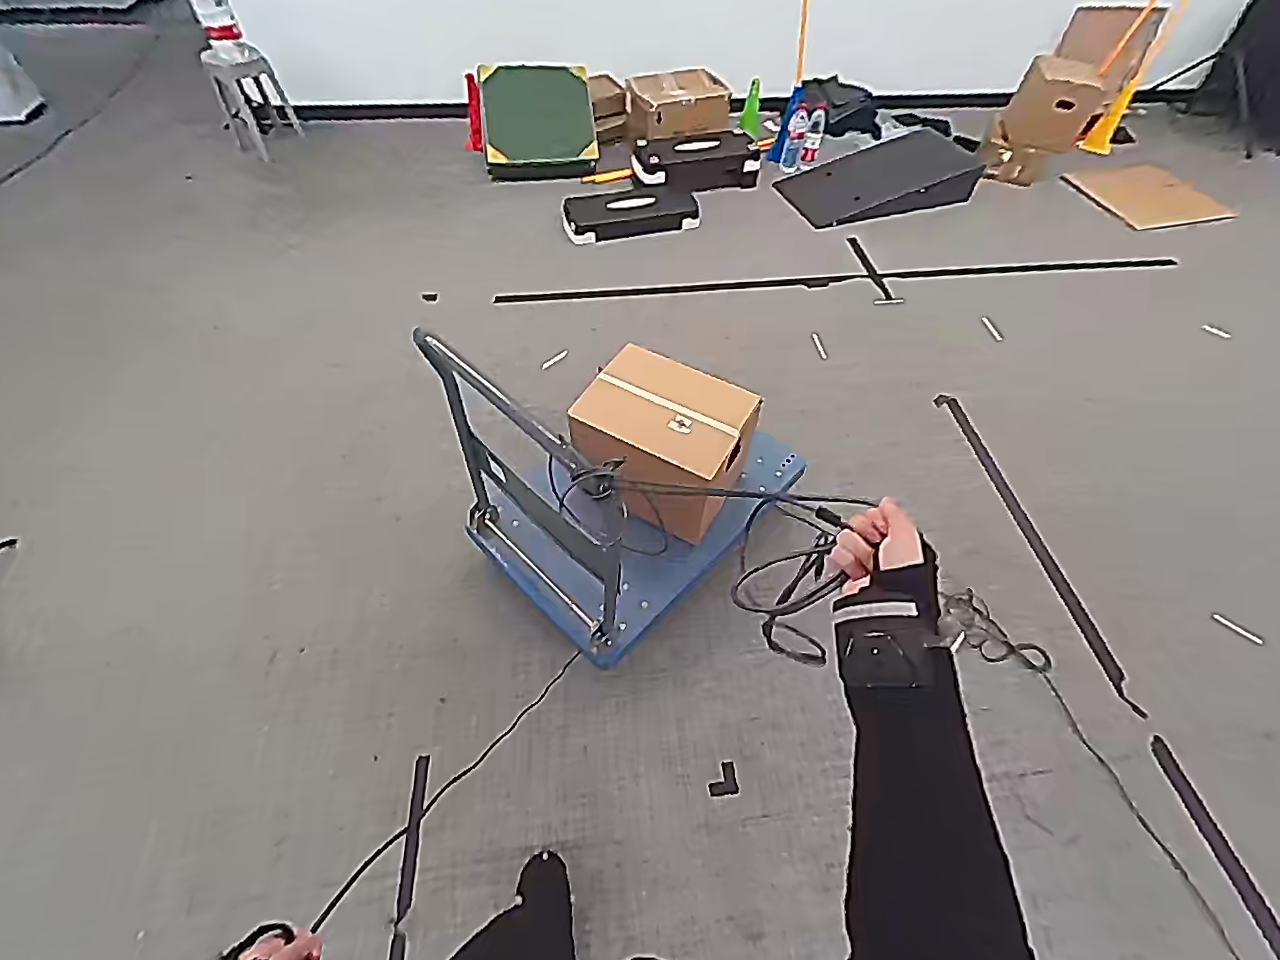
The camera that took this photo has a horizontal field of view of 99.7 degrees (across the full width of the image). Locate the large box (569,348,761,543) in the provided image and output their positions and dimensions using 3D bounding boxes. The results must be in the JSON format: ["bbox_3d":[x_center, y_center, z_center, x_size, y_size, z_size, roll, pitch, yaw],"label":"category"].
[{"bbox_3d":[0.060,-0.093,1.482,0.408,0.320,0.320,26,58,15],"label":"large box"}]
